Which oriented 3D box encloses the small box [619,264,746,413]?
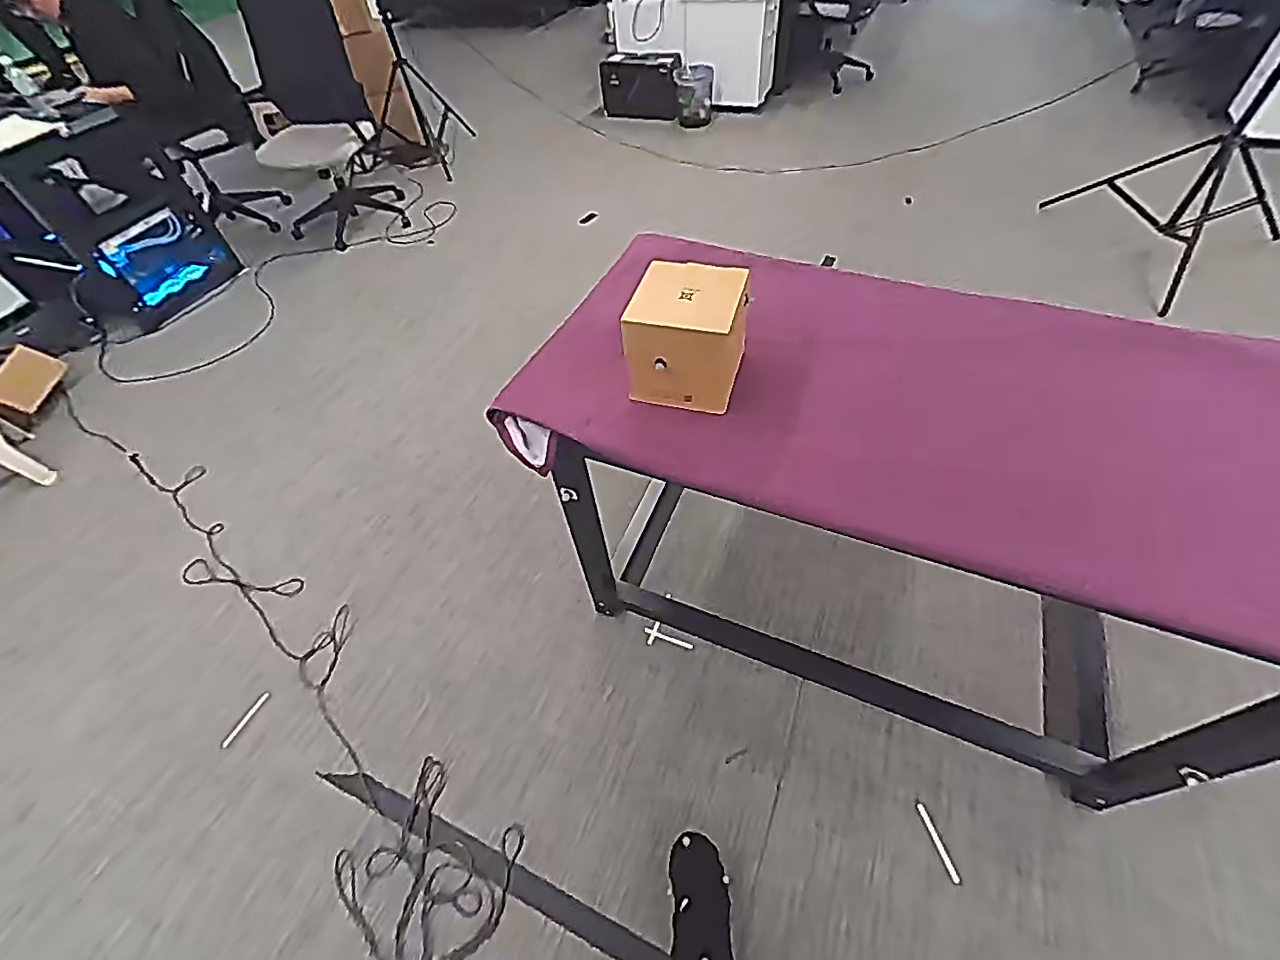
[{"bbox_3d":[0.076,-0.234,0.902,0.168,0.176,0.179,11,52,14],"label":"small box"}]
